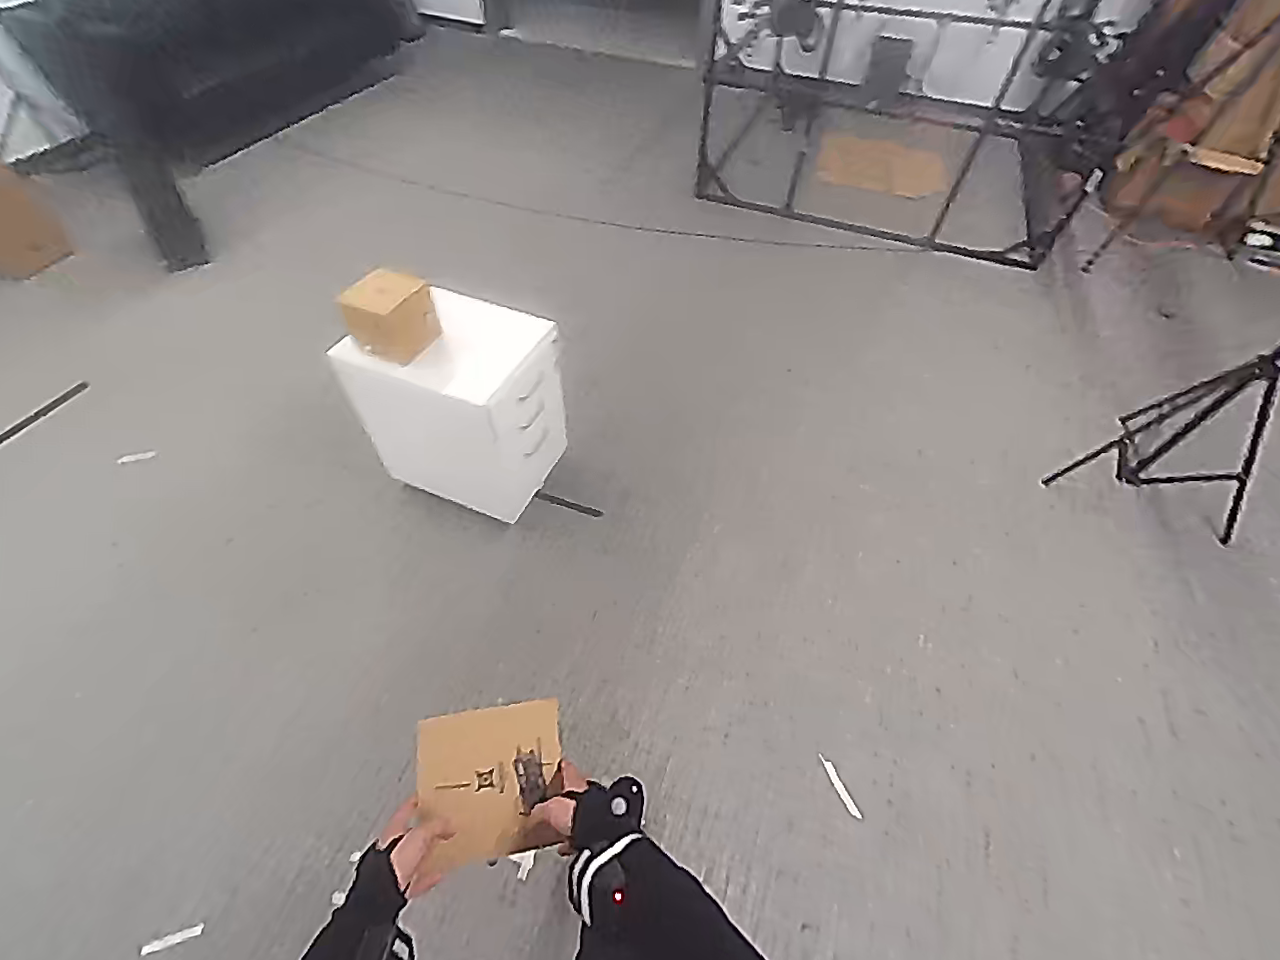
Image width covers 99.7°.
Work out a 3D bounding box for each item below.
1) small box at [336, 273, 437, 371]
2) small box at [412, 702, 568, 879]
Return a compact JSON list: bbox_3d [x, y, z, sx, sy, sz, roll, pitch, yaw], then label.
[{"bbox_3d":[-0.678,-0.430,1.475,0.168,0.176,0.179,20,53,13],"label":"small box"},{"bbox_3d":[-0.199,0.402,0.724,0.179,0.176,0.168,-4,63,-15],"label":"small box"}]
